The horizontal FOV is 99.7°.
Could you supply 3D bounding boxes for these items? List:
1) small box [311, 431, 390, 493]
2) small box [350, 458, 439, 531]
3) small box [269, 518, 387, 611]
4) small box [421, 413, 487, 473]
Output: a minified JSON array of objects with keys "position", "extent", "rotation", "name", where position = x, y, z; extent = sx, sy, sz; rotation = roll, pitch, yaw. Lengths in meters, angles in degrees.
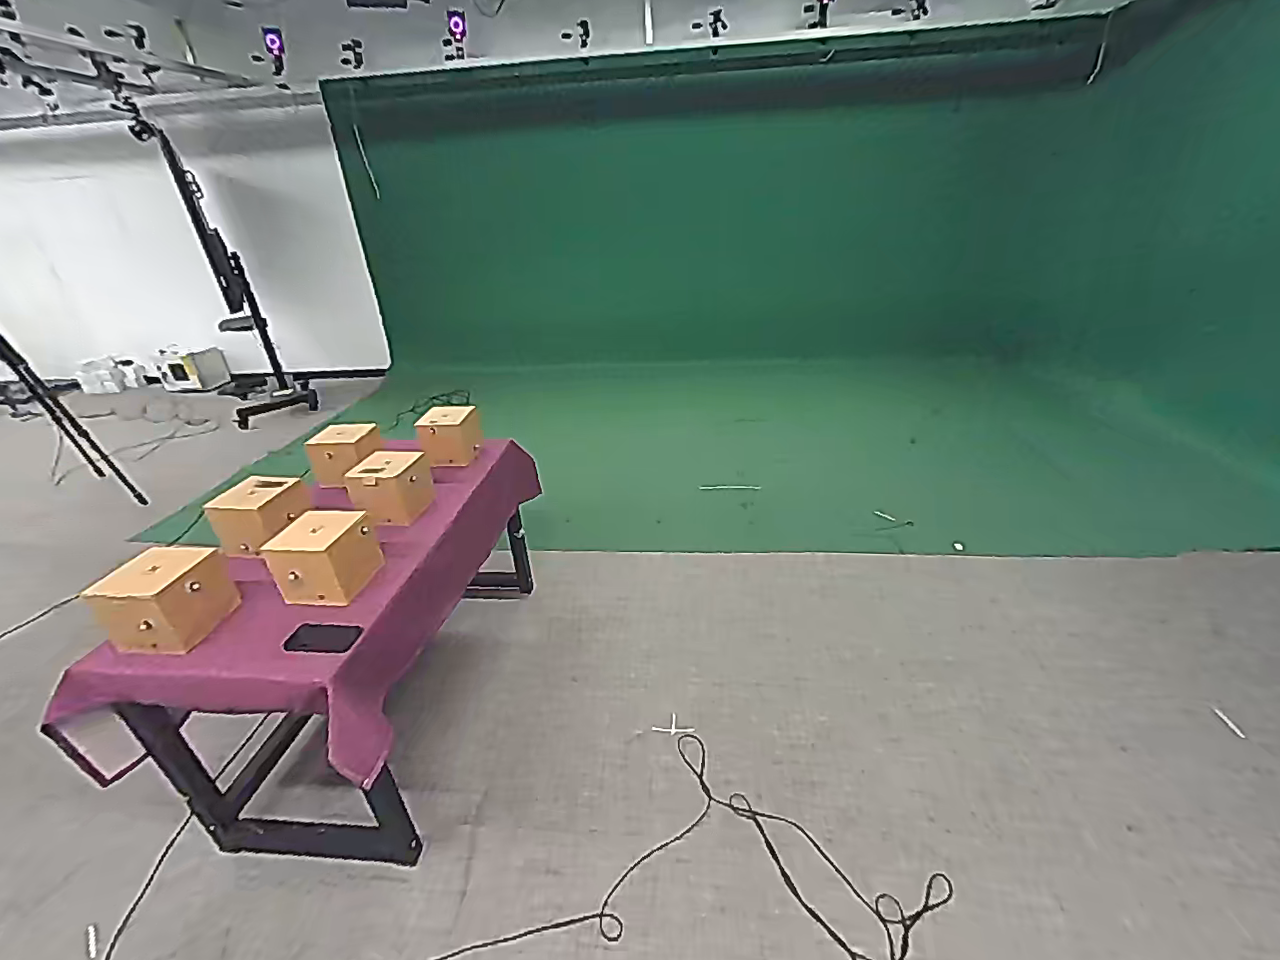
[{"position":[-1.000,-0.062,1.891],"extent":[0.179,0.176,0.168],"rotation":[-1,28,4],"name":"small box"},{"position":[-0.741,0.044,1.657],"extent":[0.168,0.176,0.179],"rotation":[1,27,10],"name":"small box"},{"position":[-0.762,0.209,1.346],"extent":[0.168,0.176,0.179],"rotation":[0,27,8],"name":"small box"},{"position":[-0.679,-0.139,1.996],"extent":[0.168,0.176,0.179],"rotation":[-1,28,6],"name":"small box"}]
